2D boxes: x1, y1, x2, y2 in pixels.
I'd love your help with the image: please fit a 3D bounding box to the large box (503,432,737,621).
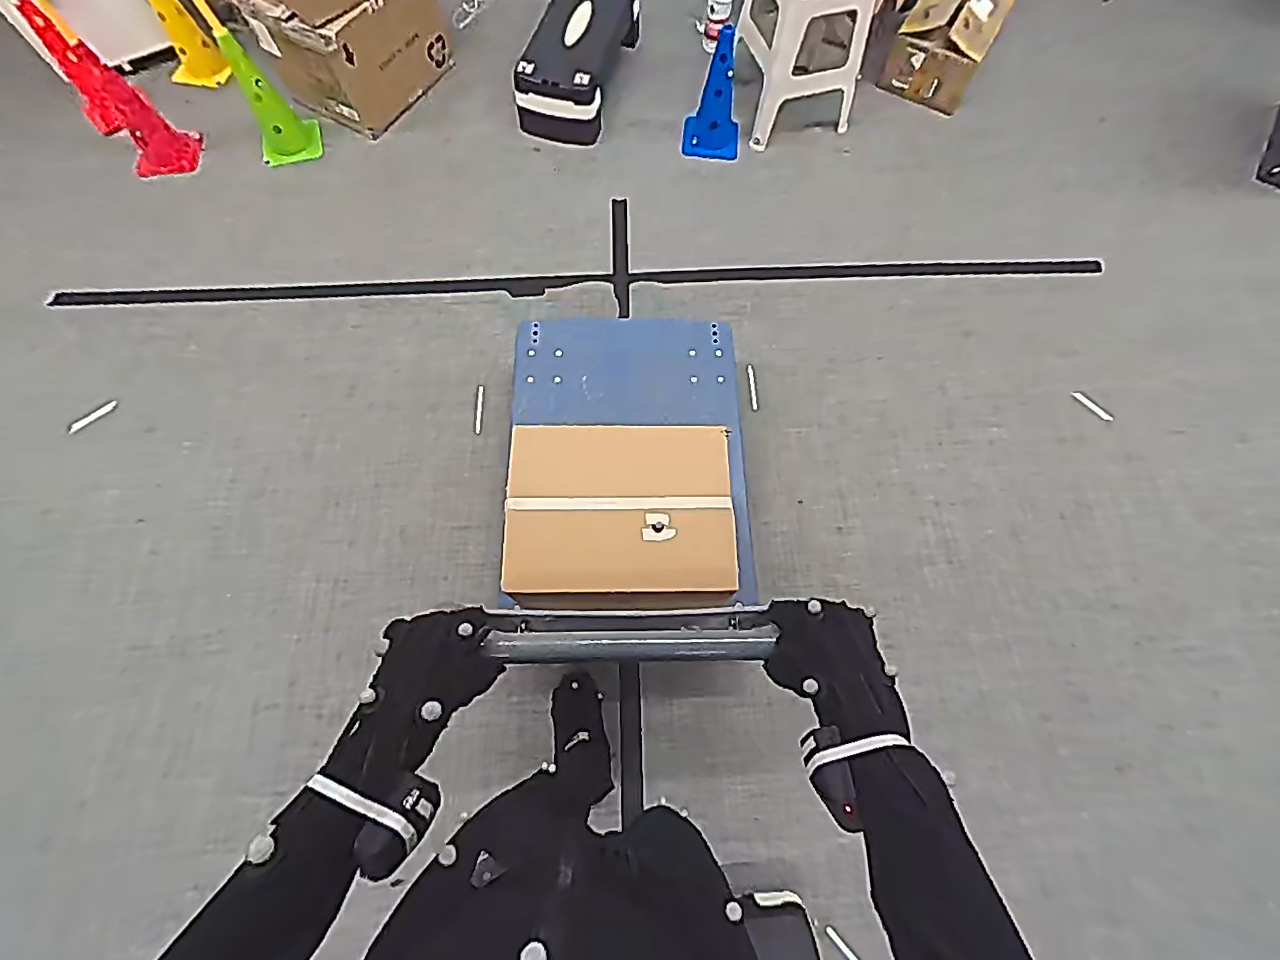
[{"bbox_3d":[-0.044,0.107,1.097,0.408,0.320,0.320,0,70,-3],"label":"large box"}]
